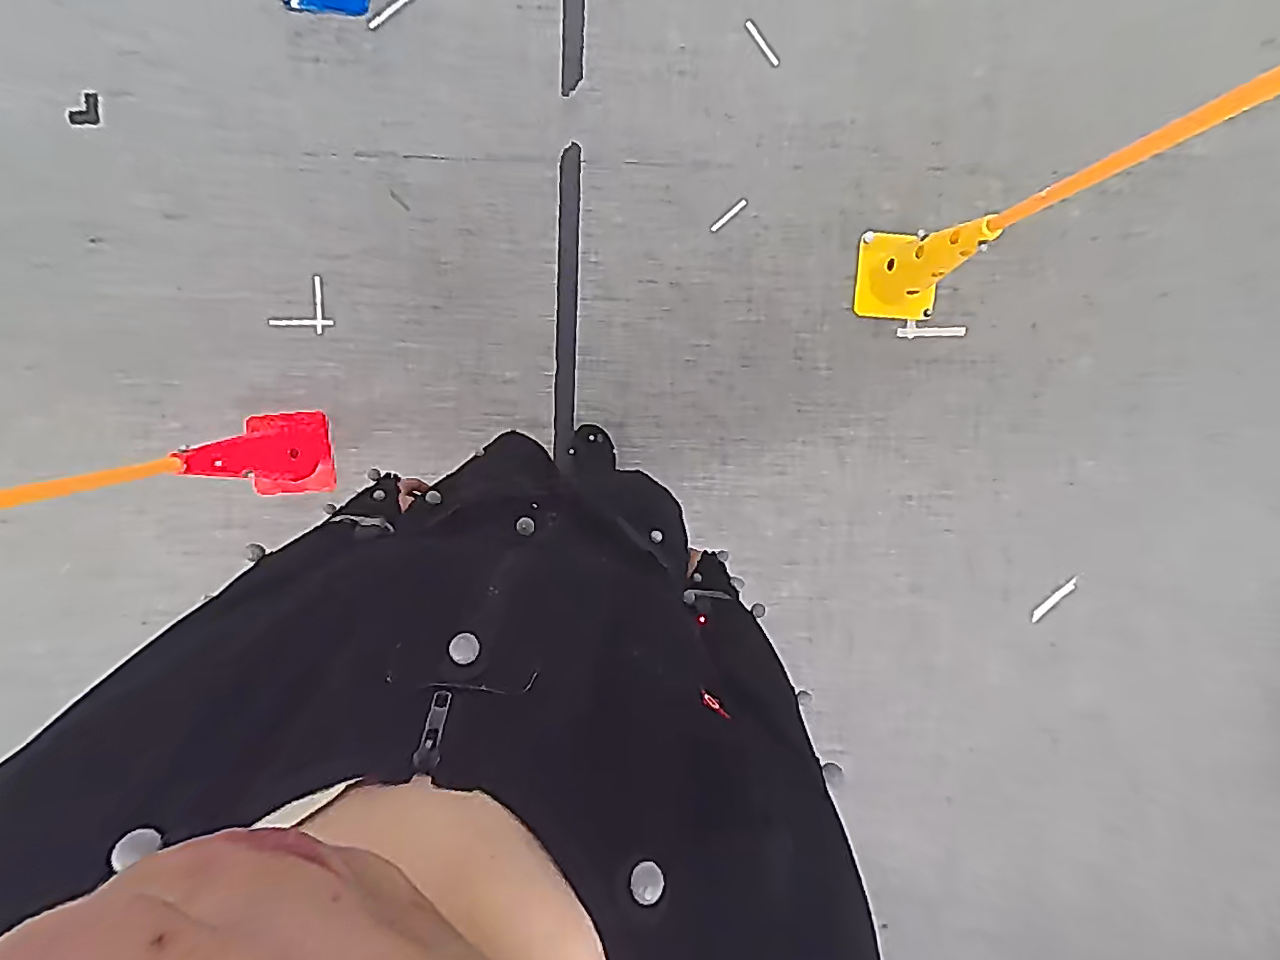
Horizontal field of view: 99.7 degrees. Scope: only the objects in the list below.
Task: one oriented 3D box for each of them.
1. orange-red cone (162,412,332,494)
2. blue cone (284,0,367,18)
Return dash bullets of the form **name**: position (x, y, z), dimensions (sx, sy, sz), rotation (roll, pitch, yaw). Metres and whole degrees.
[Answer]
- **orange-red cone**: position (-0.859, -0.045, 1.160), dimensions (0.199, 0.360, 0.198), rotation (-4, 97, -2)
- **blue cone**: position (-0.714, -1.142, 1.065), dimensions (0.193, 0.380, 0.192), rotation (4, 96, -2)
